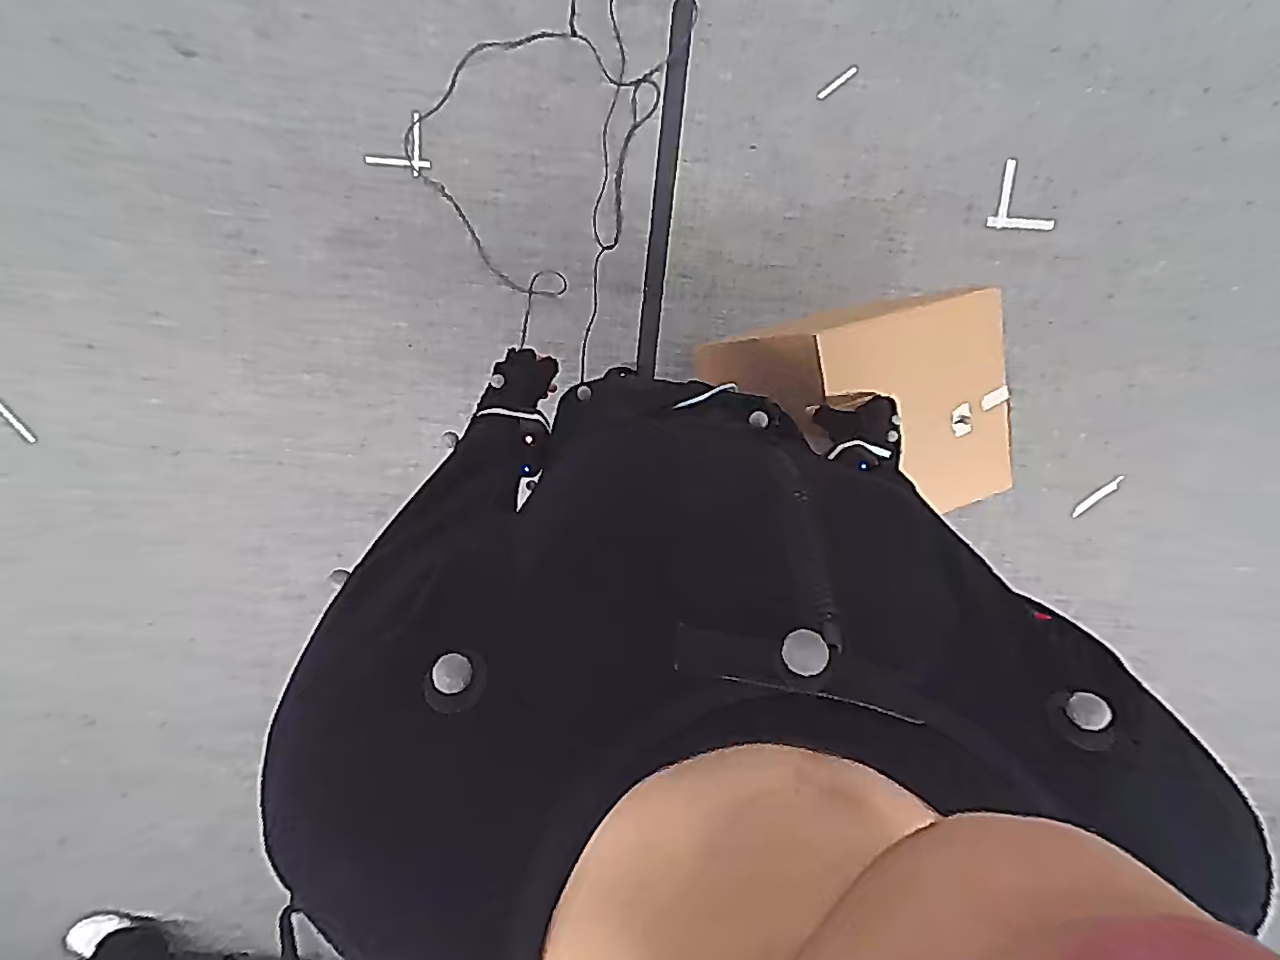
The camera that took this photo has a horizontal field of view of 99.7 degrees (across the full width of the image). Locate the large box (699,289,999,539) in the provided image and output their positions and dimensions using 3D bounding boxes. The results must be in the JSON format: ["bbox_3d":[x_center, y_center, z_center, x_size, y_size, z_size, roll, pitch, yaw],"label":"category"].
[{"bbox_3d":[0.347,-0.131,0.975,0.320,0.408,0.320,-16,105,-12],"label":"large box"}]
